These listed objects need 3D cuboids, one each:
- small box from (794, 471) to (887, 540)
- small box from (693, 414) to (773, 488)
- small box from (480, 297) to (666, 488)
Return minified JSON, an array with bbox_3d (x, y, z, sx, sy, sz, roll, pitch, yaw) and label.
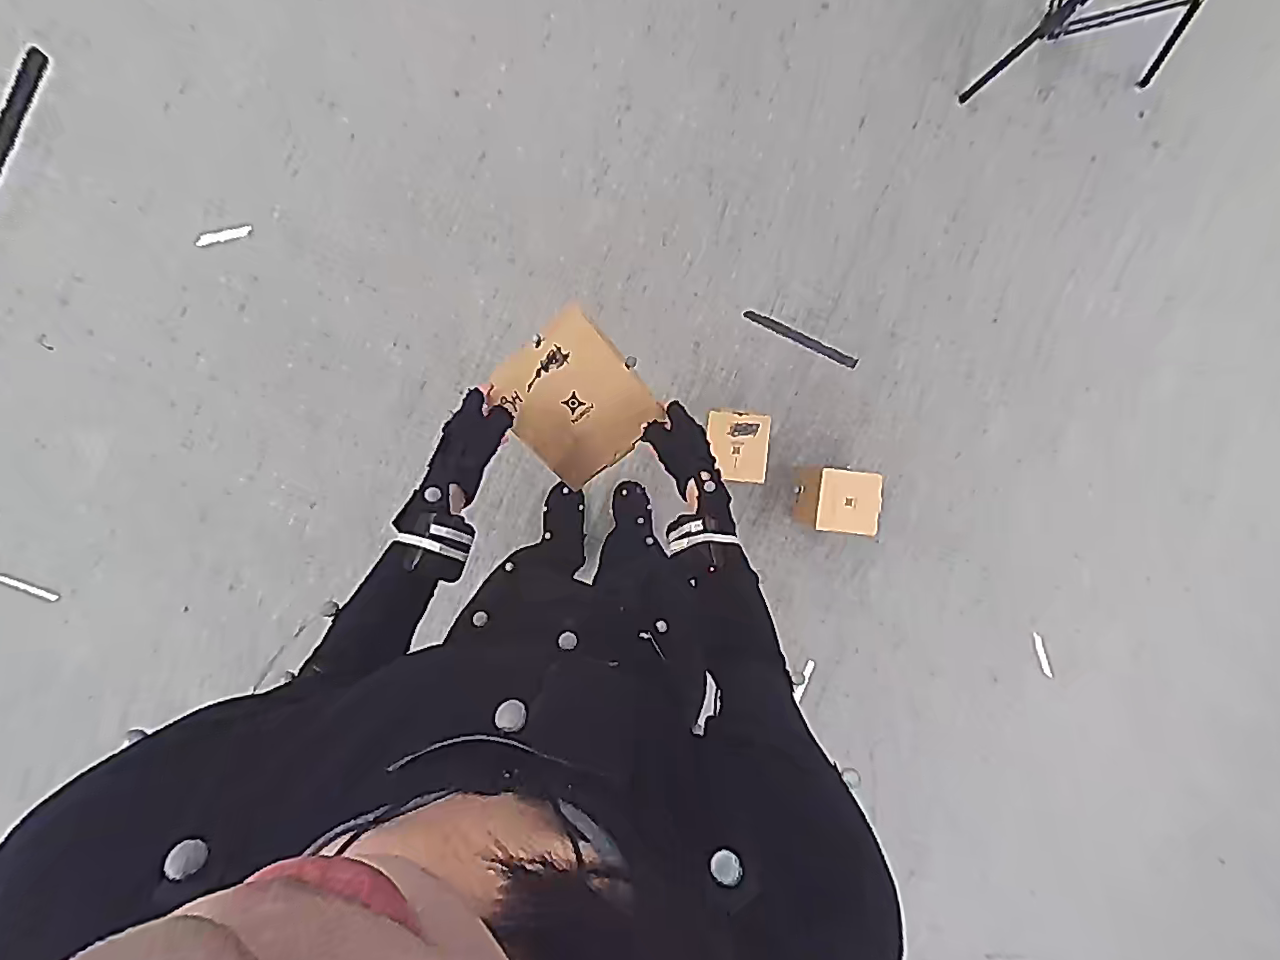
[{"bbox_3d":[0.548,0.065,1.491,0.179,0.176,0.168,5,92,-6],"label":"small box"},{"bbox_3d":[0.242,-0.078,1.447,0.168,0.176,0.179,5,93,-6],"label":"small box"},{"bbox_3d":[-0.090,-0.127,0.743,0.168,0.176,0.179,-38,115,9],"label":"small box"}]
